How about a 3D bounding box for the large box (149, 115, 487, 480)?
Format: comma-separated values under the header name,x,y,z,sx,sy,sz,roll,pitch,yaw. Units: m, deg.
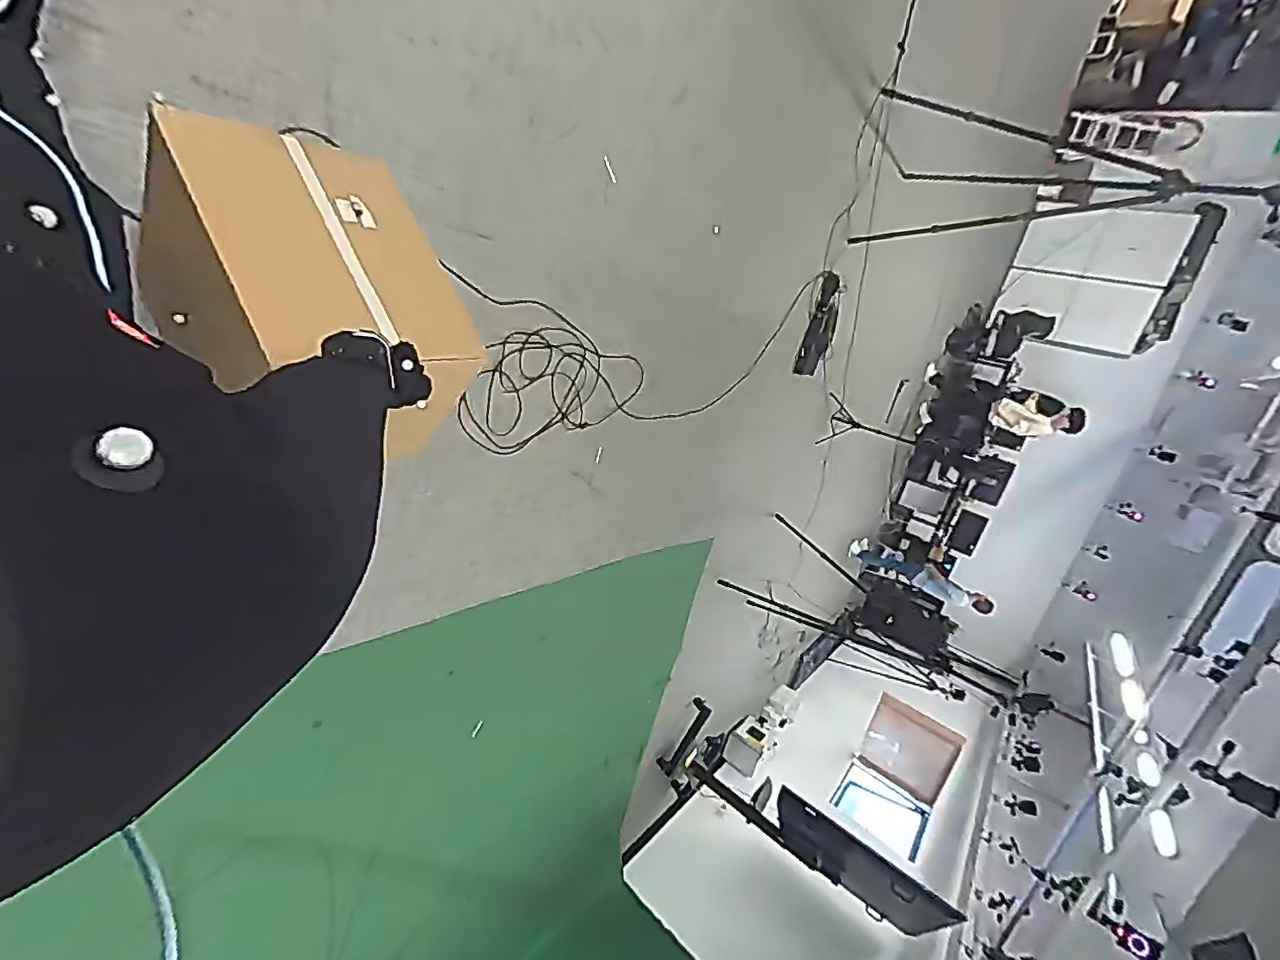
name,x,y,z,sx,sy,sz,roll,pitch,yaw
large box,-0.526,-0.267,0.878,0.320,0.408,0.320,-37,169,38
